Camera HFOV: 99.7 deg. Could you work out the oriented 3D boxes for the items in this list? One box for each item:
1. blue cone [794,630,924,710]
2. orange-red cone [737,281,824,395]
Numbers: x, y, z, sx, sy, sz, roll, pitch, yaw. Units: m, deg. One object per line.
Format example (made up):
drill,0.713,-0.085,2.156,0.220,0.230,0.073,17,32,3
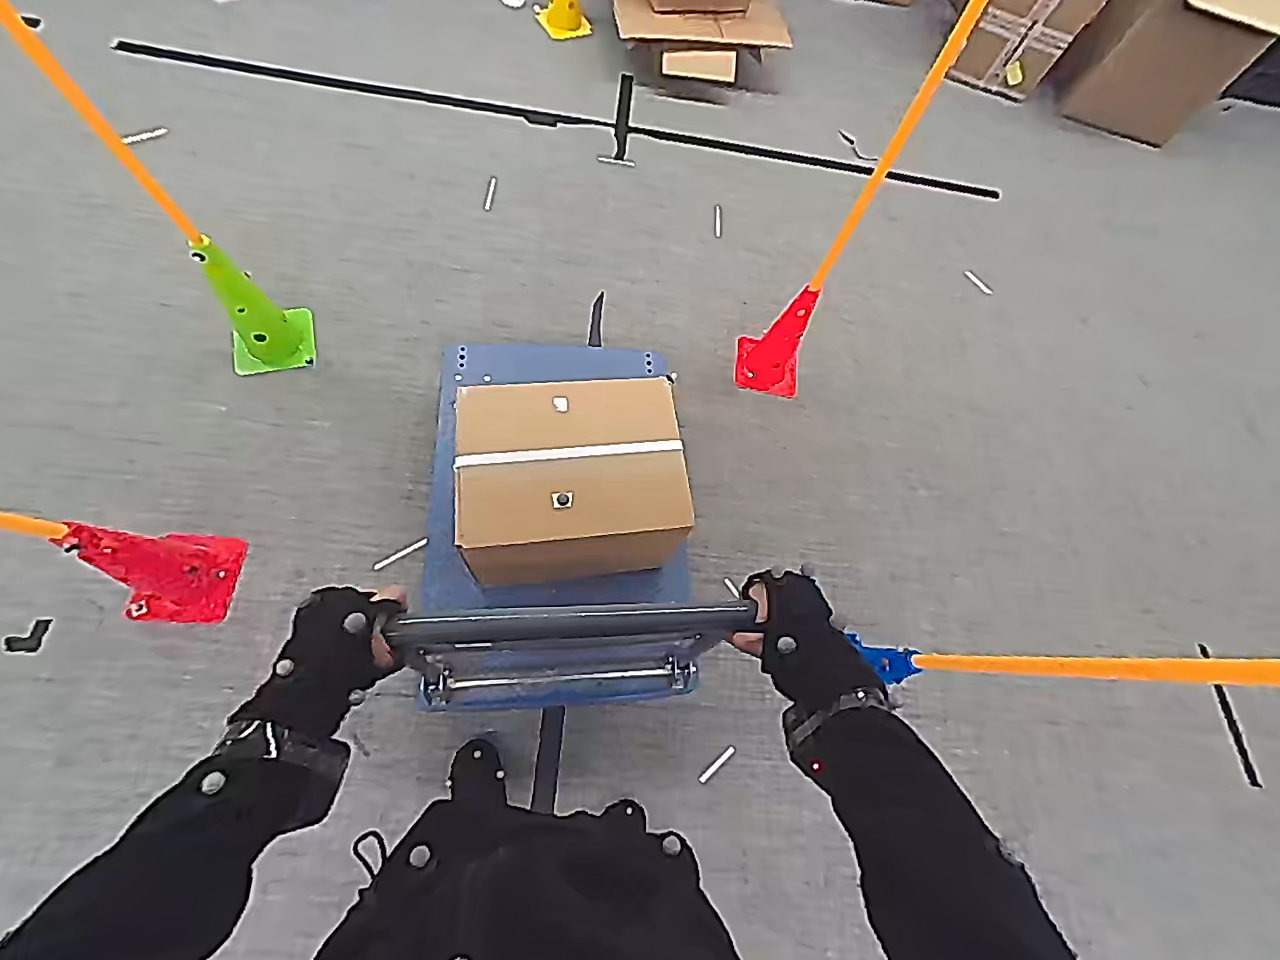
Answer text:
blue cone,0.514,0.411,1.218,0.193,0.380,0.192,2,65,-9
orange-red cone,0.434,-0.433,1.553,0.199,0.360,0.198,12,66,-5
